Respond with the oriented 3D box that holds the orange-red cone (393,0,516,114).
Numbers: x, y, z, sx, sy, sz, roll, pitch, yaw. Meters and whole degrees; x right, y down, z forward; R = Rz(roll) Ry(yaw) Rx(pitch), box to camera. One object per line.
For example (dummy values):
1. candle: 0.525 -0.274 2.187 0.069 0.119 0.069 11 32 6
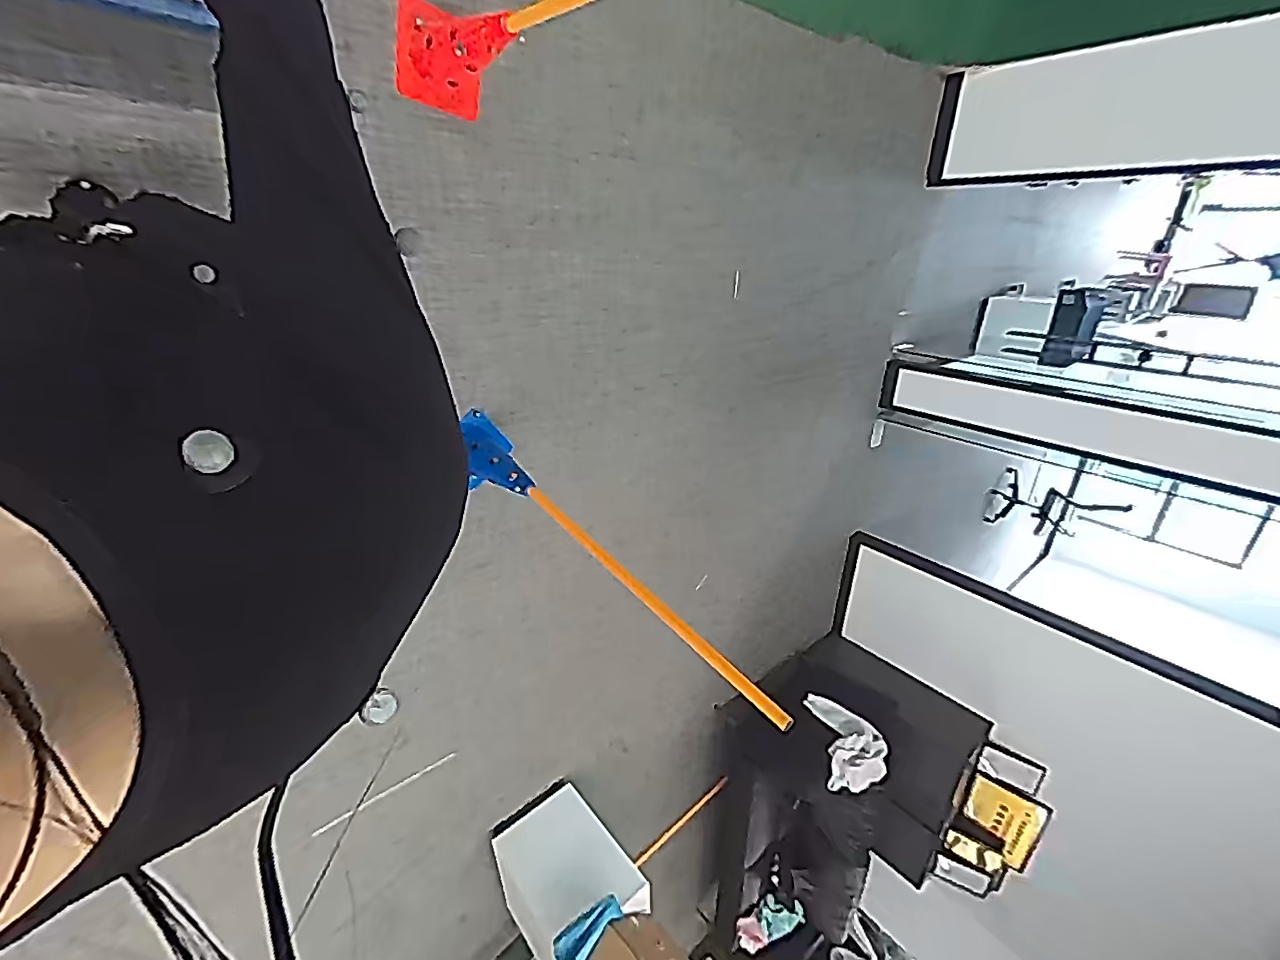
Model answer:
1. orange-red cone: -0.363 -0.940 1.150 0.198 0.360 0.199 -4 113 -42
